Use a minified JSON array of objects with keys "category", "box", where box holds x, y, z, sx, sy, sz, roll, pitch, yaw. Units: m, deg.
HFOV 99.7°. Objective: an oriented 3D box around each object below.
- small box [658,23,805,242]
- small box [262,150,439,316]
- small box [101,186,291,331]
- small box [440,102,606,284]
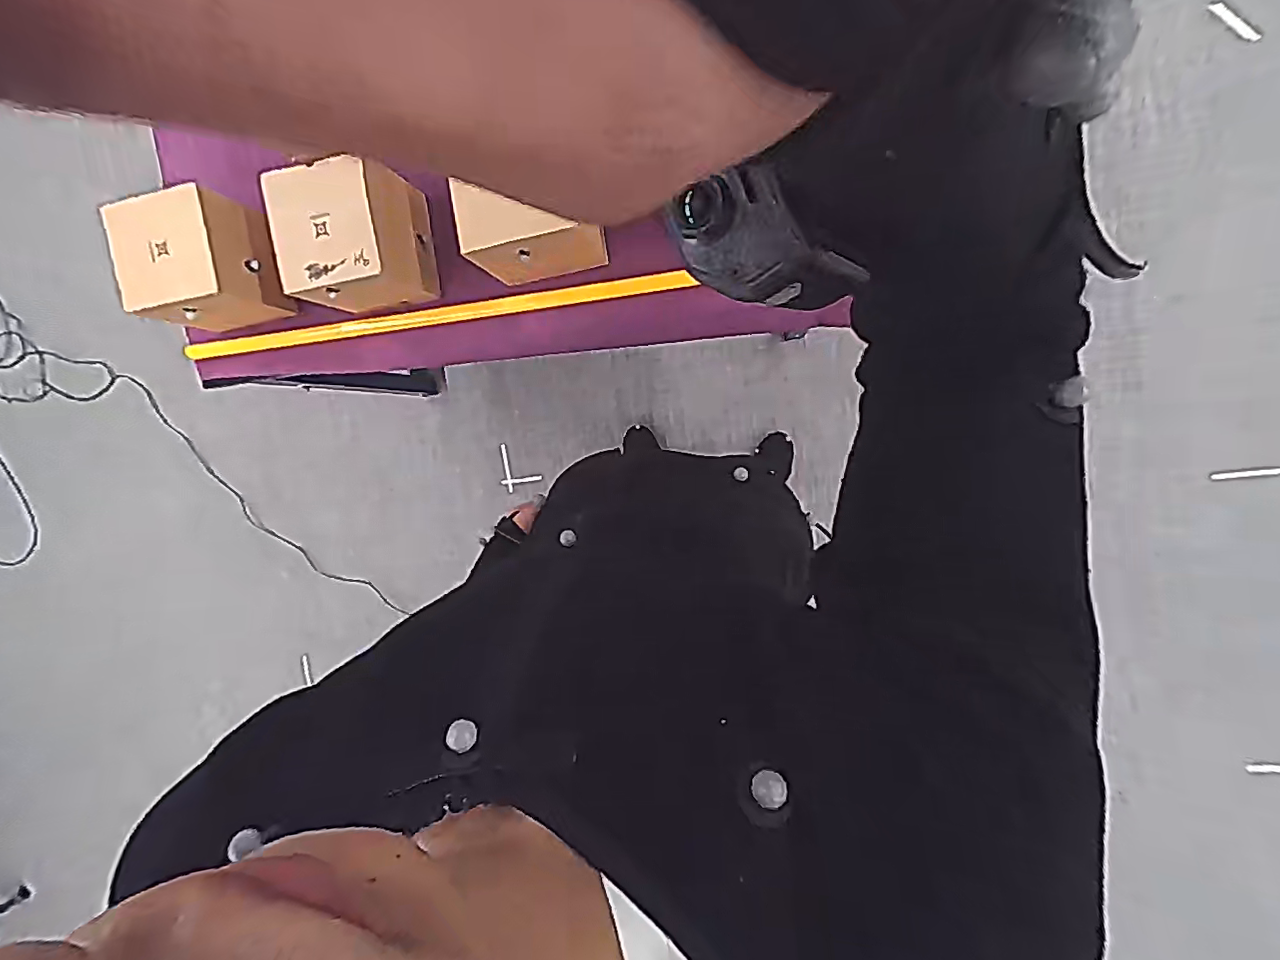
[{"category":"small box","box":[0.125,-0.457,0.741,0.168,0.176,0.179,-7,93,12]},{"category":"small box","box":[-0.443,-0.374,0.851,0.168,0.176,0.179,-7,94,12]},{"category":"small box","box":[-0.719,-0.355,0.901,0.179,0.176,0.168,-8,94,10]},{"category":"small box","box":[-0.163,-0.406,0.799,0.179,0.176,0.168,-8,93,11]}]
